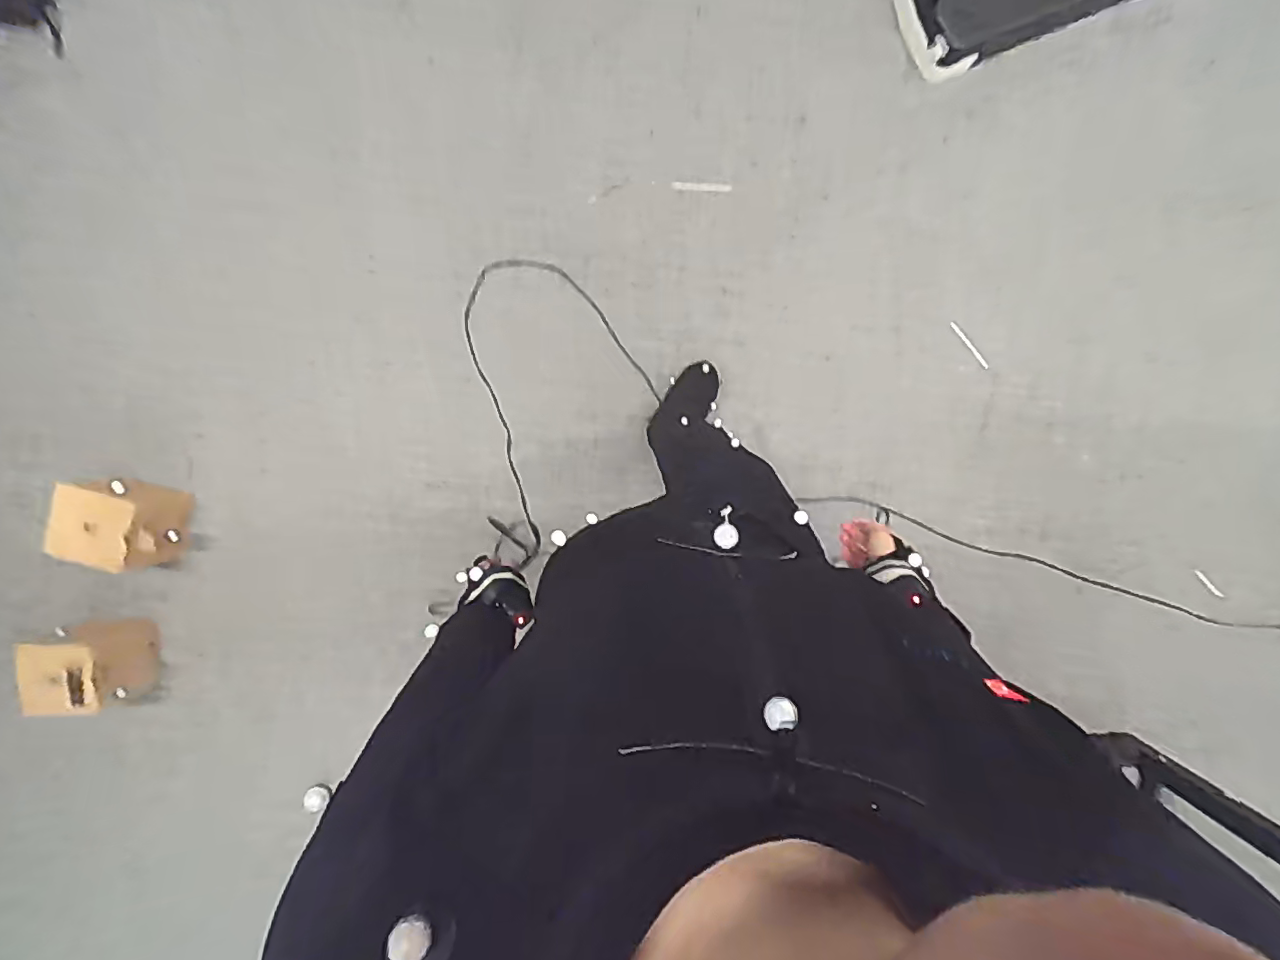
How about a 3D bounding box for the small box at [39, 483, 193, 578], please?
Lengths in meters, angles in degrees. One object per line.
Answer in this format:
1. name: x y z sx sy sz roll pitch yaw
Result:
1. small box: -1.199 0.108 1.248 0.179 0.176 0.168 15 94 -2
